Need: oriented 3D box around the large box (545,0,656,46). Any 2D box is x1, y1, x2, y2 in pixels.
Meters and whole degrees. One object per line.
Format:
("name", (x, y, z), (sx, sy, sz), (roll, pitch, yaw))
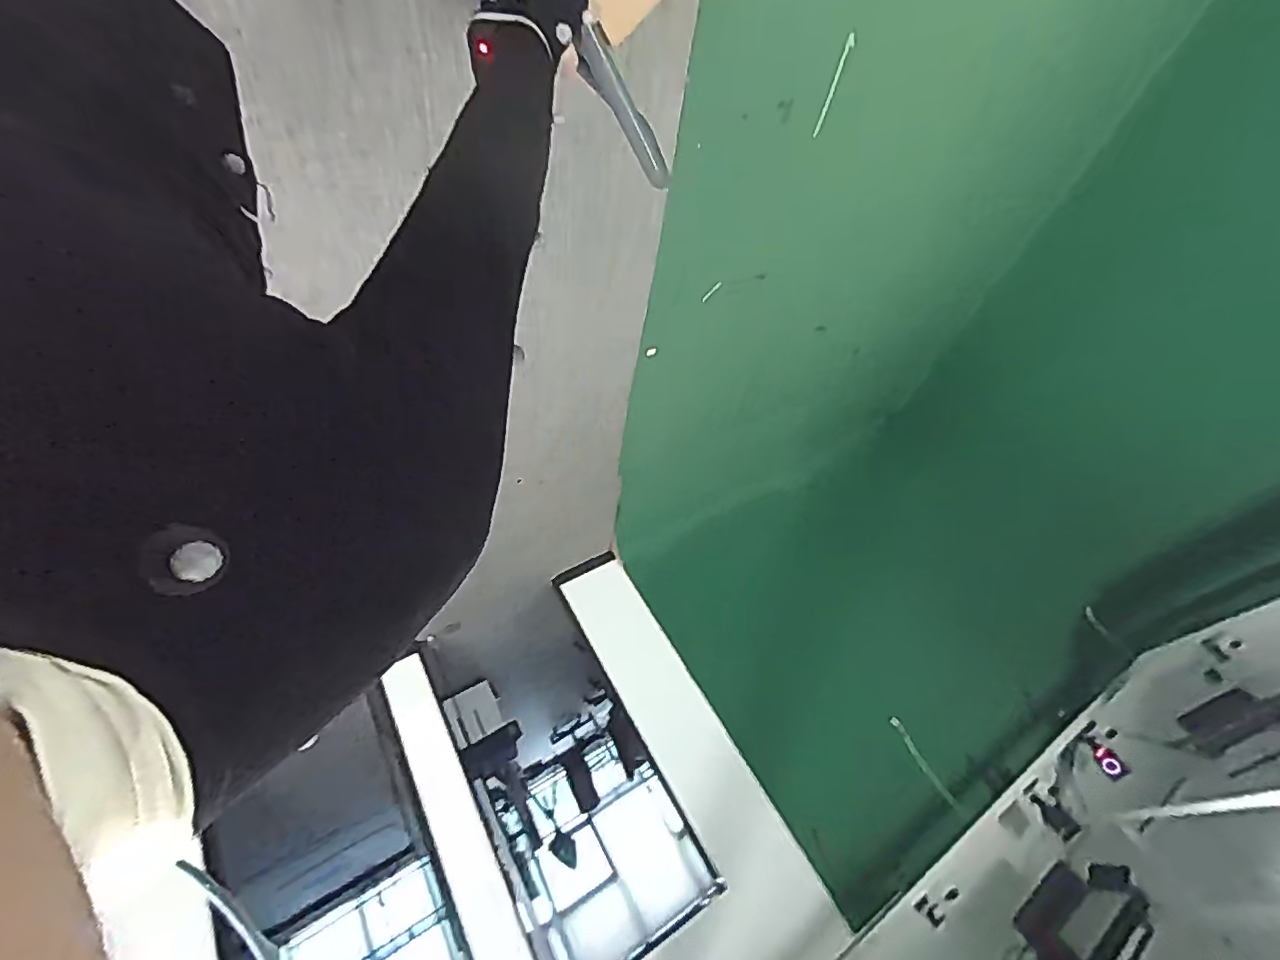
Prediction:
("large box", (-0.052, -1.082, 0.916), (0.408, 0.320, 0.320), (-42, 153, 10))
